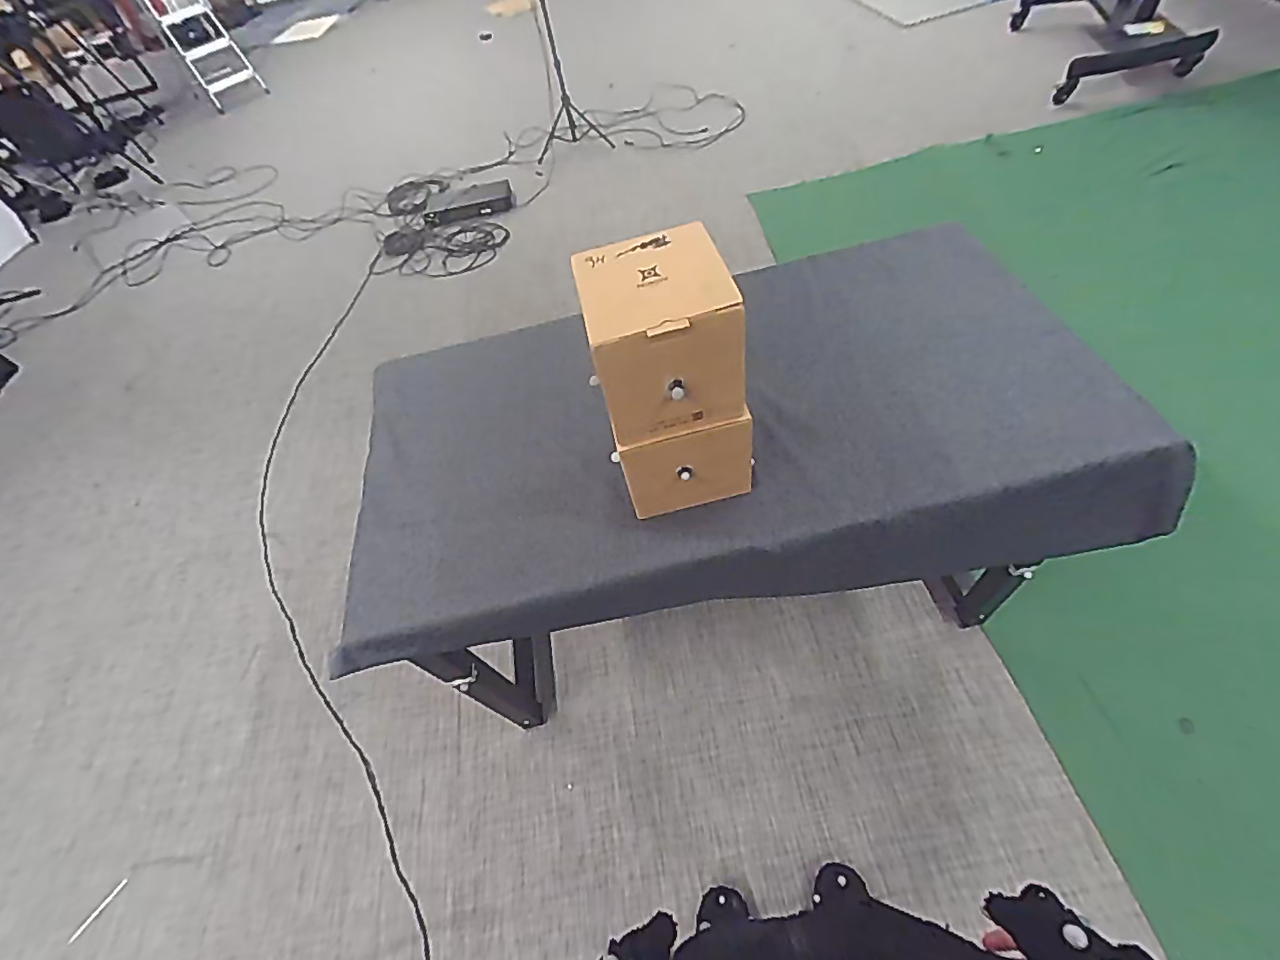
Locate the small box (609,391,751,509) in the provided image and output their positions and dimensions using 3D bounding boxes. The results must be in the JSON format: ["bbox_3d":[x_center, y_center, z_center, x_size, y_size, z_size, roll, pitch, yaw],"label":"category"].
[{"bbox_3d":[0.054,-0.081,0.789,0.179,0.176,0.168,-14,54,1],"label":"small box"}]

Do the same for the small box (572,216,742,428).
[{"bbox_3d":[0.025,-0.183,0.664,0.168,0.176,0.179,-14,55,1],"label":"small box"}]
